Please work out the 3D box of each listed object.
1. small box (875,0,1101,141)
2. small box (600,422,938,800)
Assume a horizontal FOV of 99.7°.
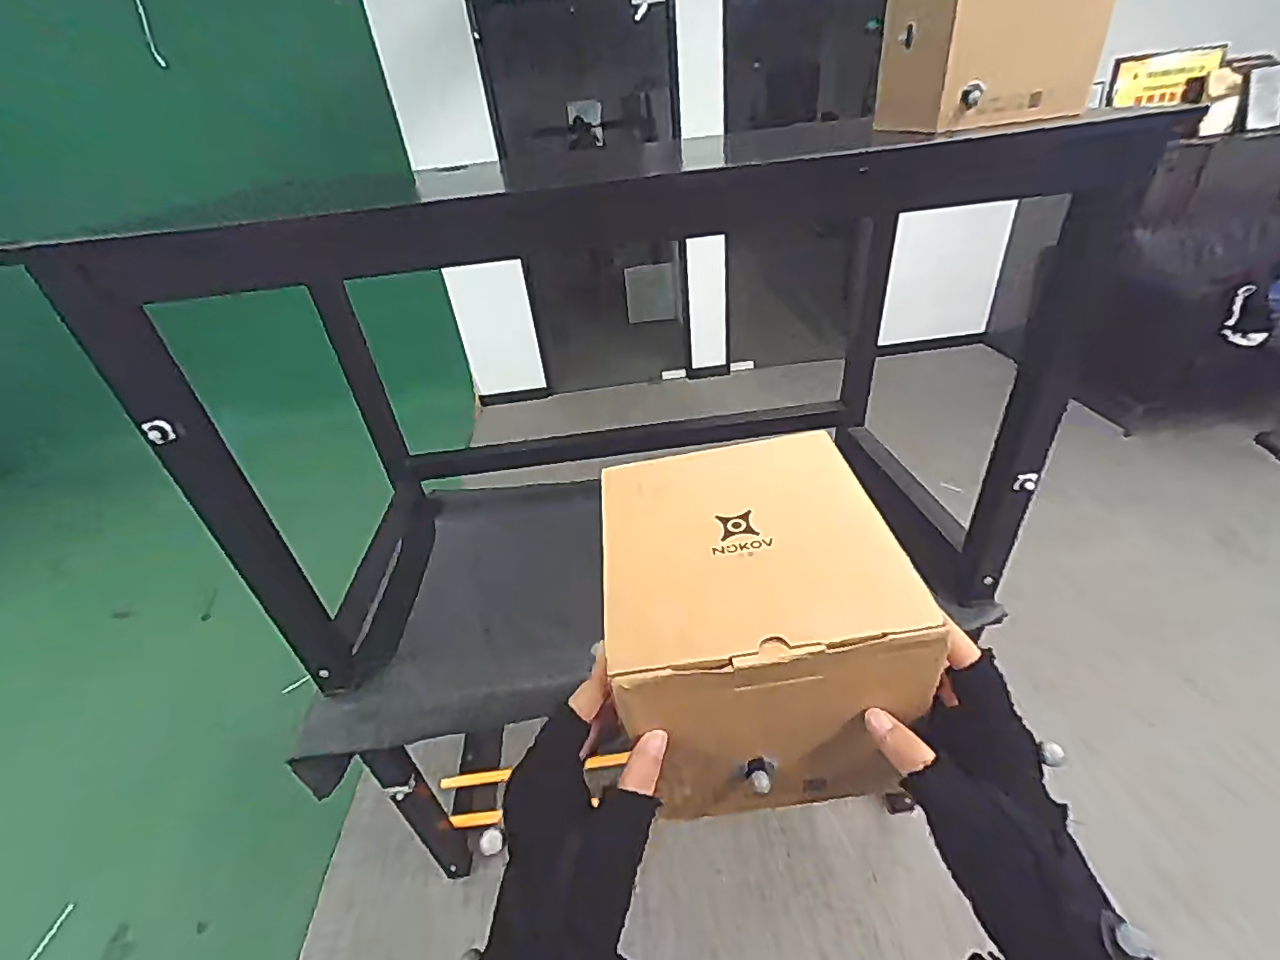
[{"bbox_3d":[0.394,-0.504,0.629,0.168,0.176,0.179,-6,32,1],"label":"small box"},{"bbox_3d":[0.068,0.085,0.373,0.168,0.176,0.179,-10,37,3],"label":"small box"}]
